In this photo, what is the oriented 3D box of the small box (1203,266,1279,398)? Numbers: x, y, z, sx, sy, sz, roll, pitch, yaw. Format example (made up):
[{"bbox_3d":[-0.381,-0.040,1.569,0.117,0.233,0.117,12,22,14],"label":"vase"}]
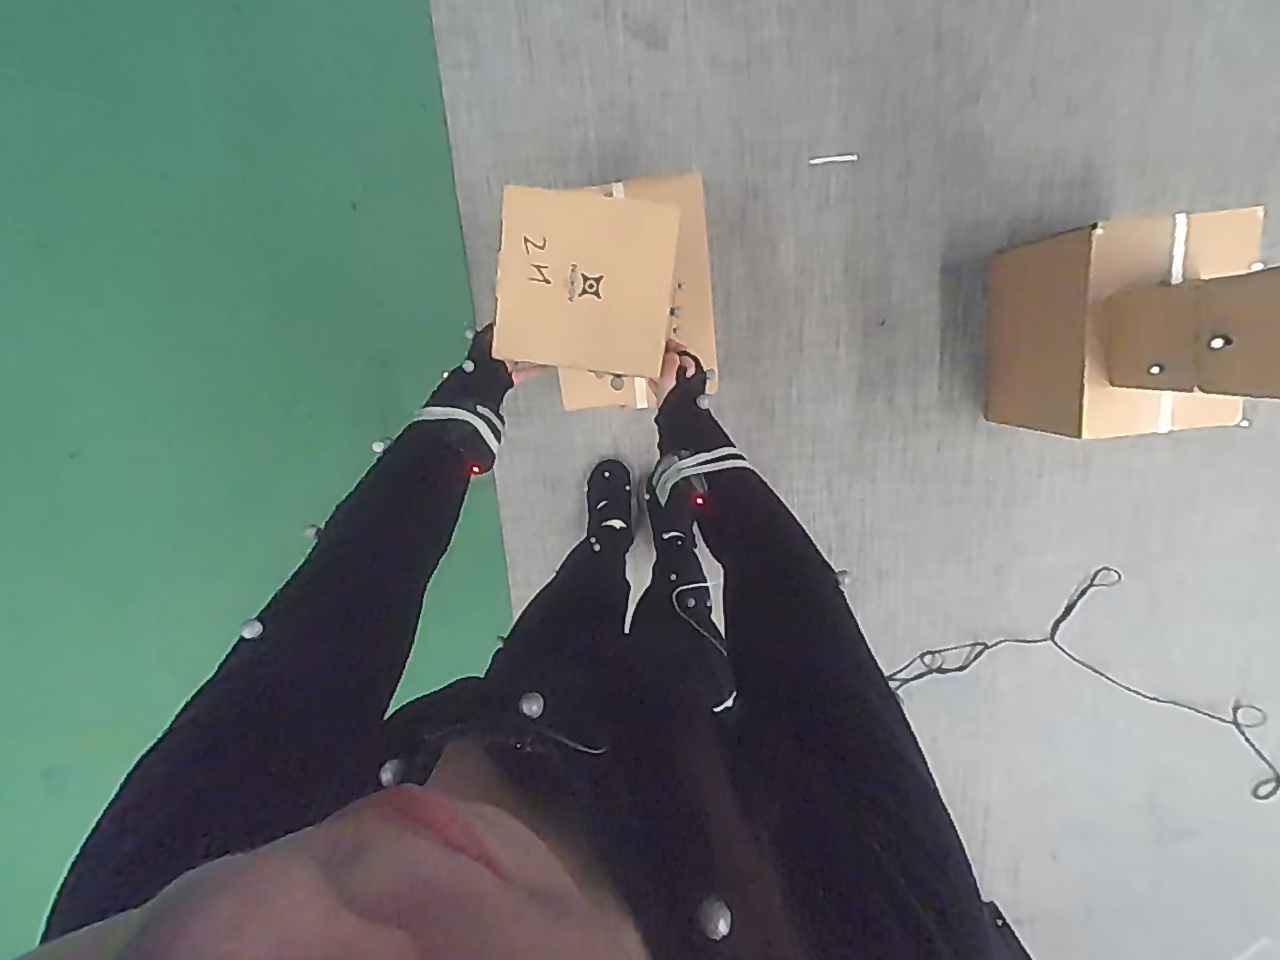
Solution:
[{"bbox_3d":[0.979,-0.222,0.783,0.168,0.176,0.179,-14,103,5],"label":"small box"}]

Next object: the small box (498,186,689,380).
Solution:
[{"bbox_3d":[-0.046,-0.210,0.617,0.179,0.176,0.168,8,101,1],"label":"small box"}]

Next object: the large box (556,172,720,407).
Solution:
[{"bbox_3d":[-0.012,-0.383,1.175,0.320,0.320,0.408,-6,102,2],"label":"large box"}]
